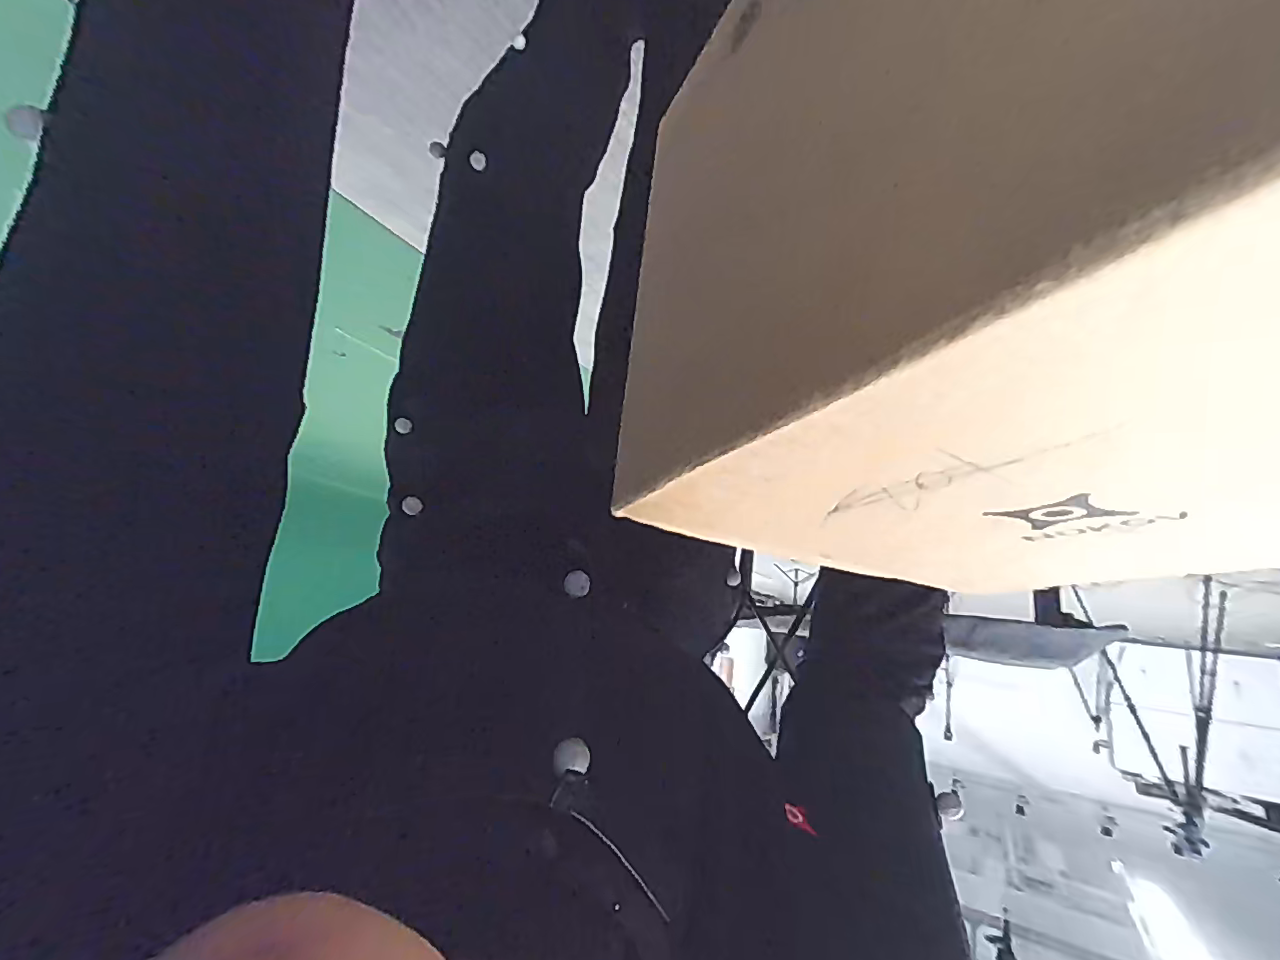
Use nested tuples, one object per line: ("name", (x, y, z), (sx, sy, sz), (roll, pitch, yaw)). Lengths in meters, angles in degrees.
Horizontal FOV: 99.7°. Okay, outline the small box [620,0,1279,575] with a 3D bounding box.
("small box", (0.113, -0.075, 0.166), (0.179, 0.176, 0.168), (15, 157, -22))
